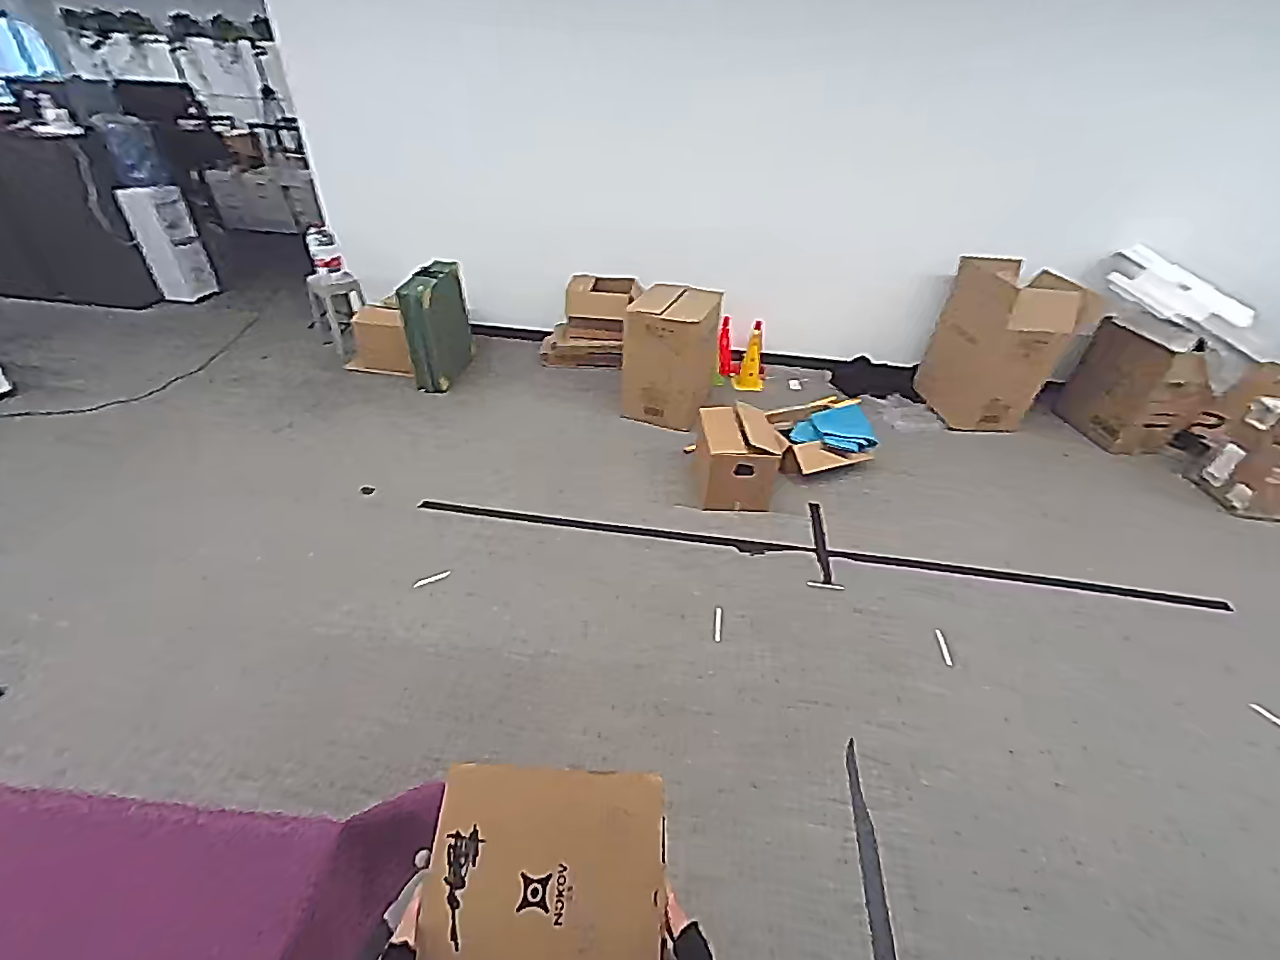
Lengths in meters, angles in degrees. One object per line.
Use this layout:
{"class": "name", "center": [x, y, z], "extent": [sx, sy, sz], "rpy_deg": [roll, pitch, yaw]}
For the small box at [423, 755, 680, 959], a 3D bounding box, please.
{"class": "small box", "center": [-0.069, 0.342, 0.455], "extent": [0.179, 0.176, 0.168], "rpy_deg": [7, 53, -5]}
